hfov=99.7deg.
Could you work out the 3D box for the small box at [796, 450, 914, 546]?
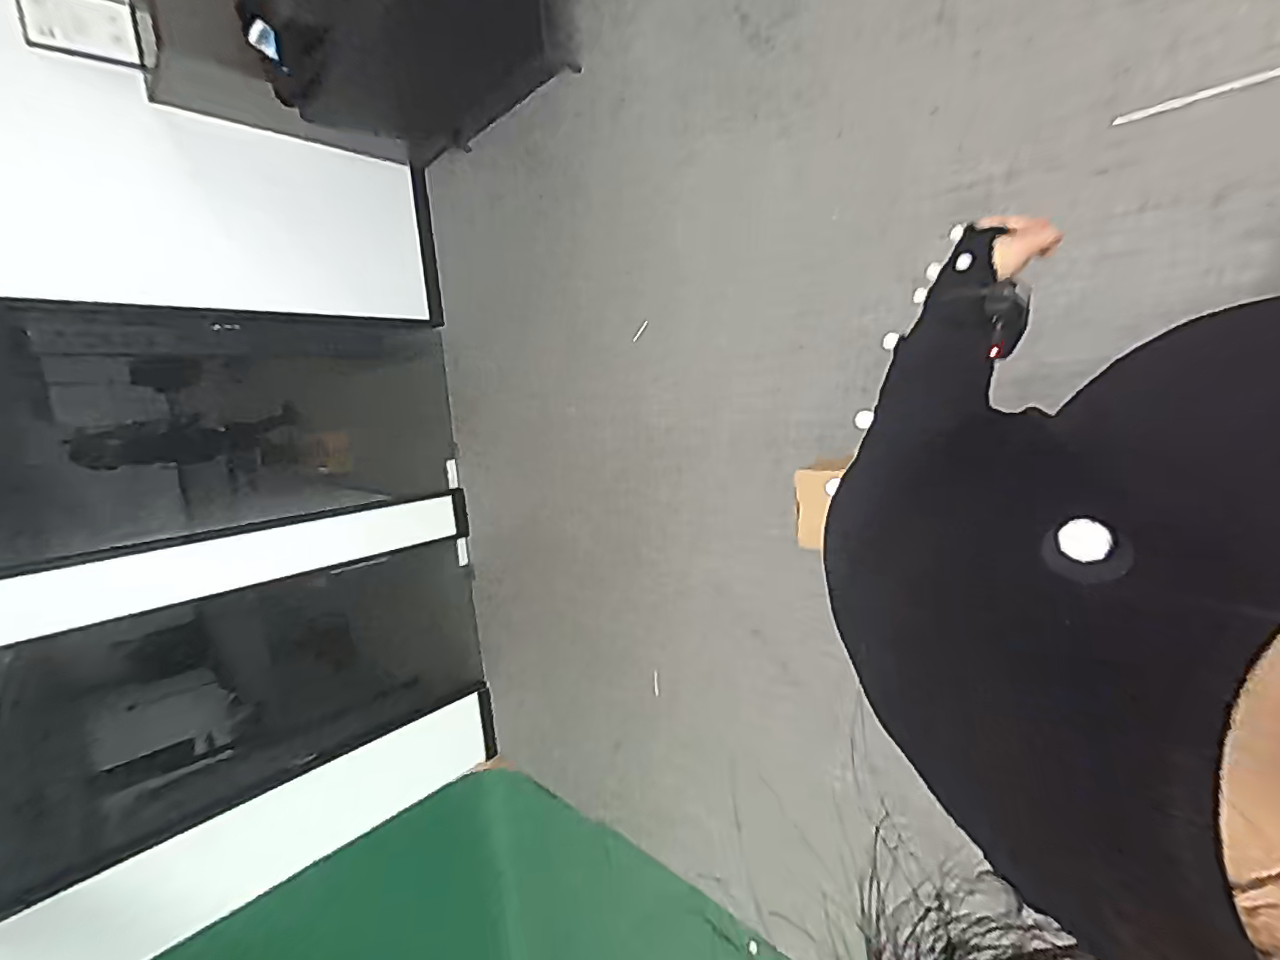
[{"bbox_3d":[0.446,0.030,1.123,0.179,0.176,0.168,1,101,45],"label":"small box"}]
